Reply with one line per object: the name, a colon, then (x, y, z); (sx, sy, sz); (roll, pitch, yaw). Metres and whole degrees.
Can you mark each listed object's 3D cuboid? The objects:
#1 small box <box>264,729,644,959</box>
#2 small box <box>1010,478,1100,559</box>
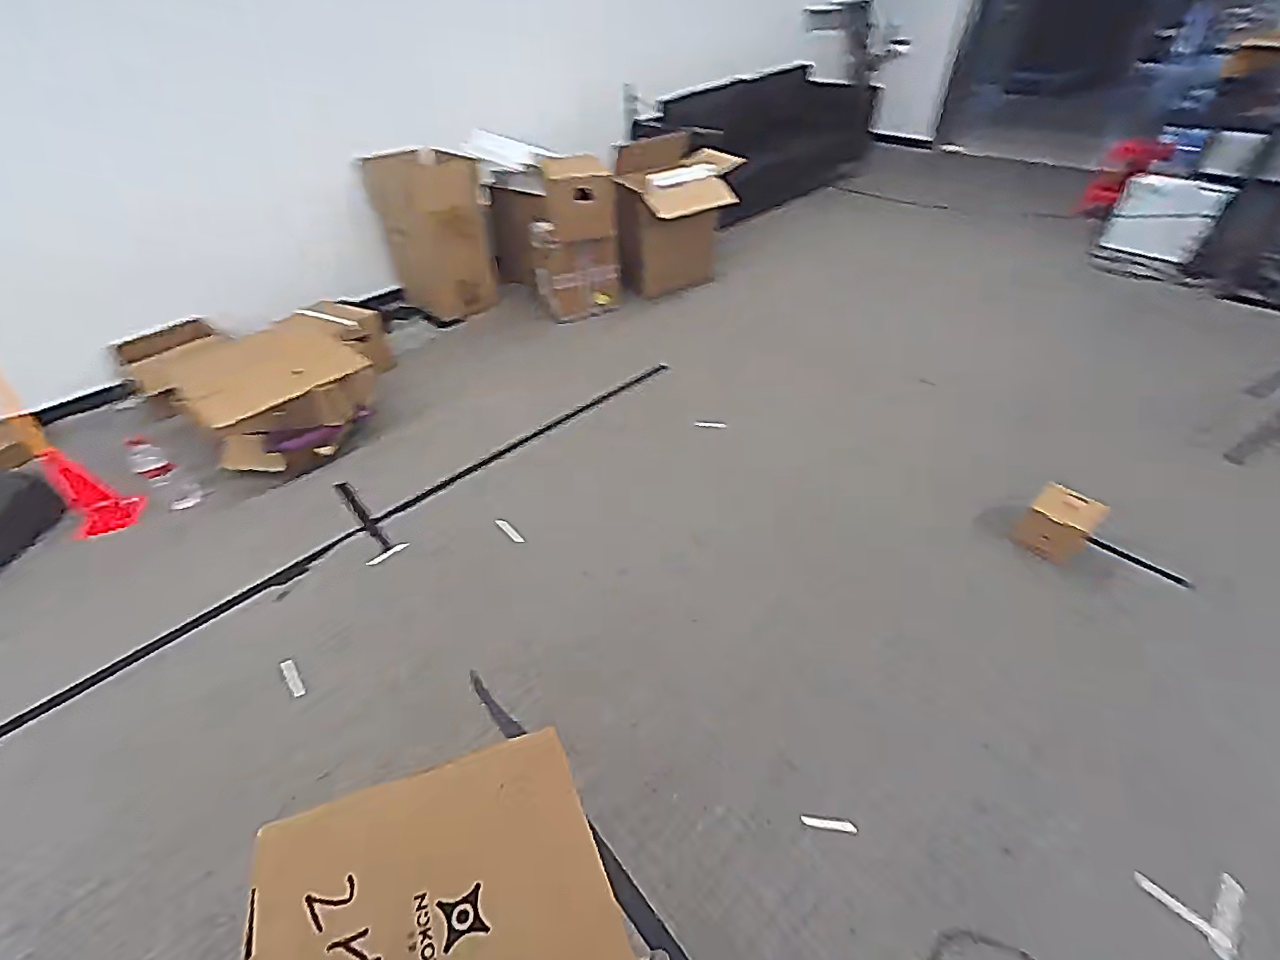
small box: (-0.111, 0.292, 0.331); (0.179, 0.176, 0.168); (-7, 41, -25)
small box: (1.392, 0.133, 1.828); (0.179, 0.176, 0.168); (-33, 50, -26)
